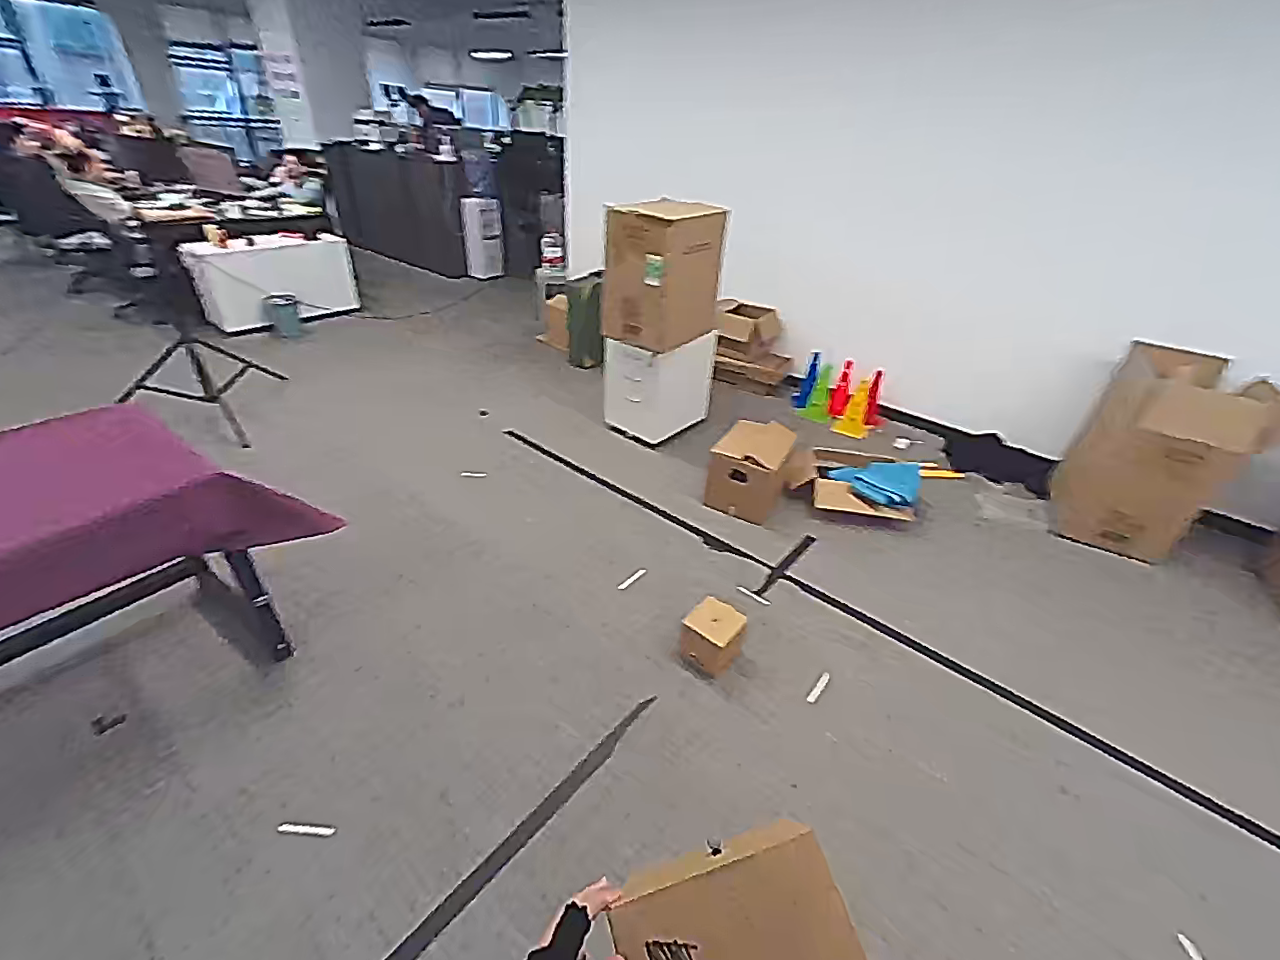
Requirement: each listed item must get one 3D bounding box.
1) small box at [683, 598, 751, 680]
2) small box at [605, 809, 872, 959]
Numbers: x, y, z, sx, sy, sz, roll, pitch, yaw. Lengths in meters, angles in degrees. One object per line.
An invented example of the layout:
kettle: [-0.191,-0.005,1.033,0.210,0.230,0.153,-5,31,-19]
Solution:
small box: [0.265,0.555,1.889,0.168,0.176,0.179,26,40,31]
small box: [0.085,0.399,0.452,0.179,0.176,0.168,-18,60,-7]
